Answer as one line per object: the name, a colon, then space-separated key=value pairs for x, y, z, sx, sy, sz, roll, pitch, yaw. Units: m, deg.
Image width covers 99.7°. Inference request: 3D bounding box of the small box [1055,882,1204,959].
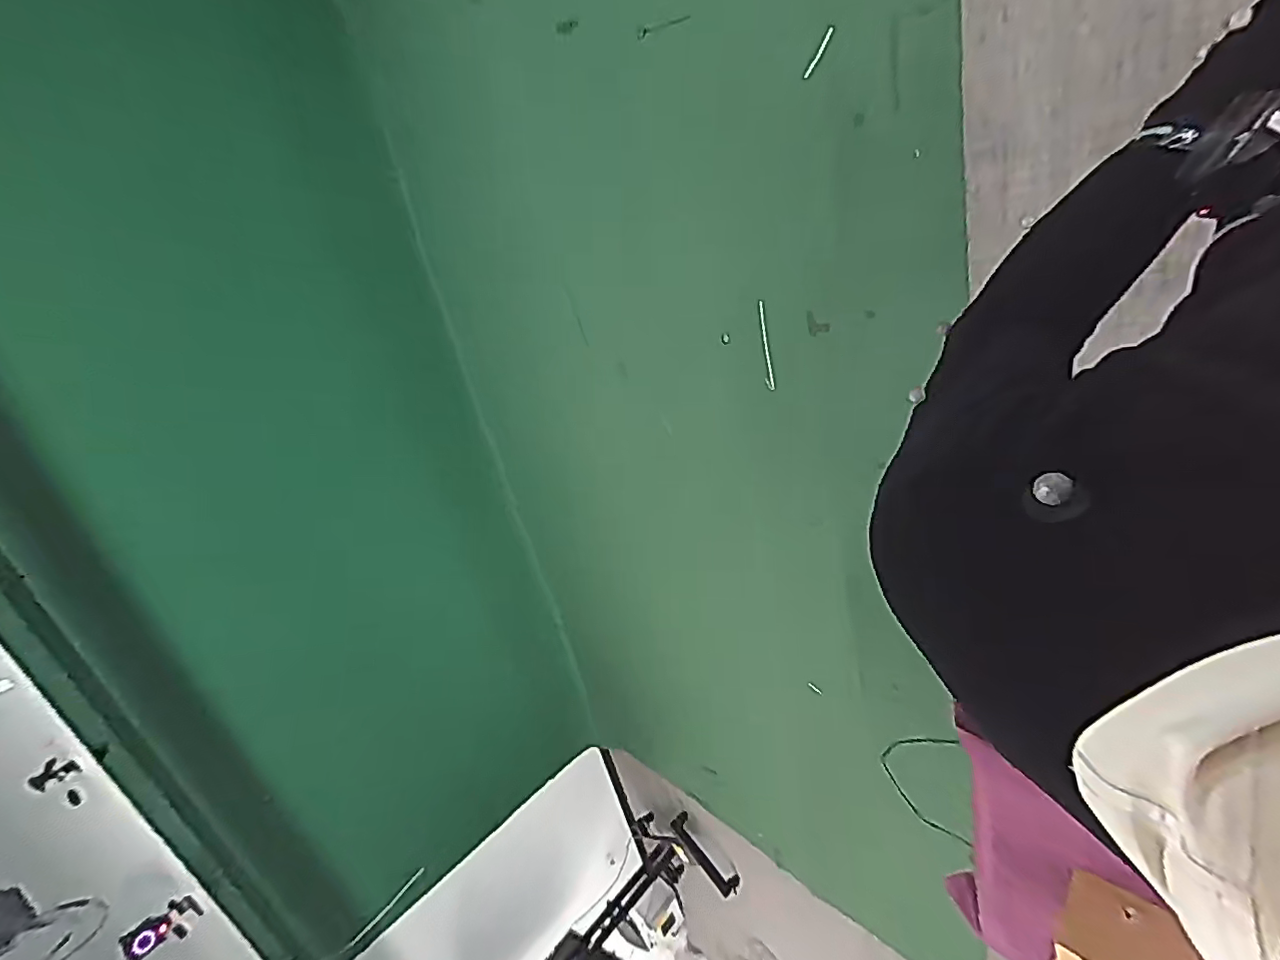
small box: x=0.872 y=0.876 z=0.970 sx=0.179 sy=0.176 sz=0.168 roll=8 pitch=120 yaw=47
